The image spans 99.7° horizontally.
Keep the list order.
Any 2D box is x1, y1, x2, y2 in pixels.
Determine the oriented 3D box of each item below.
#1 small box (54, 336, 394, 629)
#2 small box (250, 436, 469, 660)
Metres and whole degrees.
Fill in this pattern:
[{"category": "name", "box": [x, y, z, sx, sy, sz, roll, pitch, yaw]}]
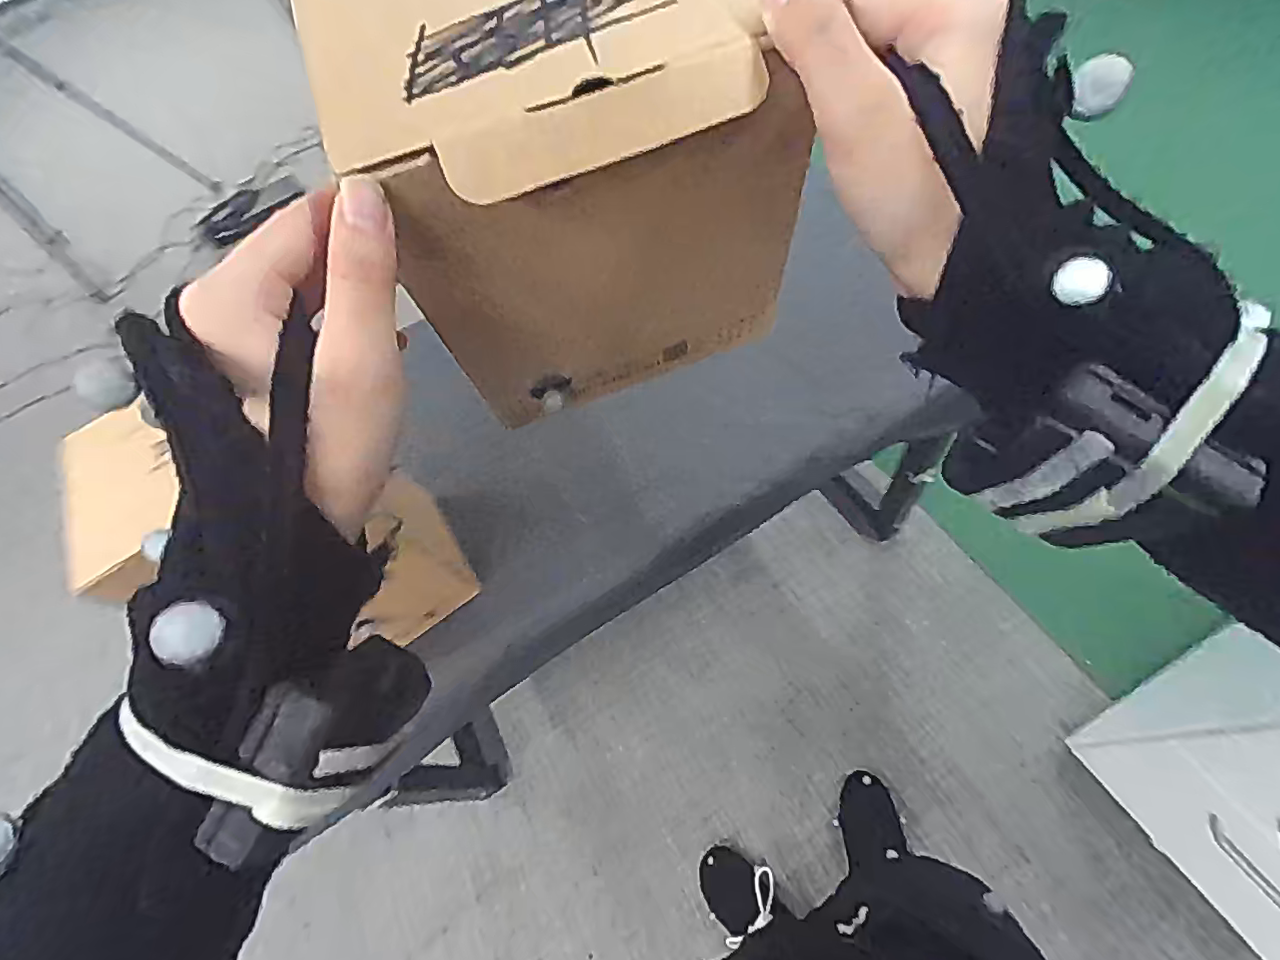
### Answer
[{"category": "small box", "box": [-0.359, 0.013, 0.490, 0.168, 0.176, 0.179, -36, 59, -10]}, {"category": "small box", "box": [-0.331, 0.089, 0.631, 0.168, 0.176, 0.179, -35, 60, -9]}]
